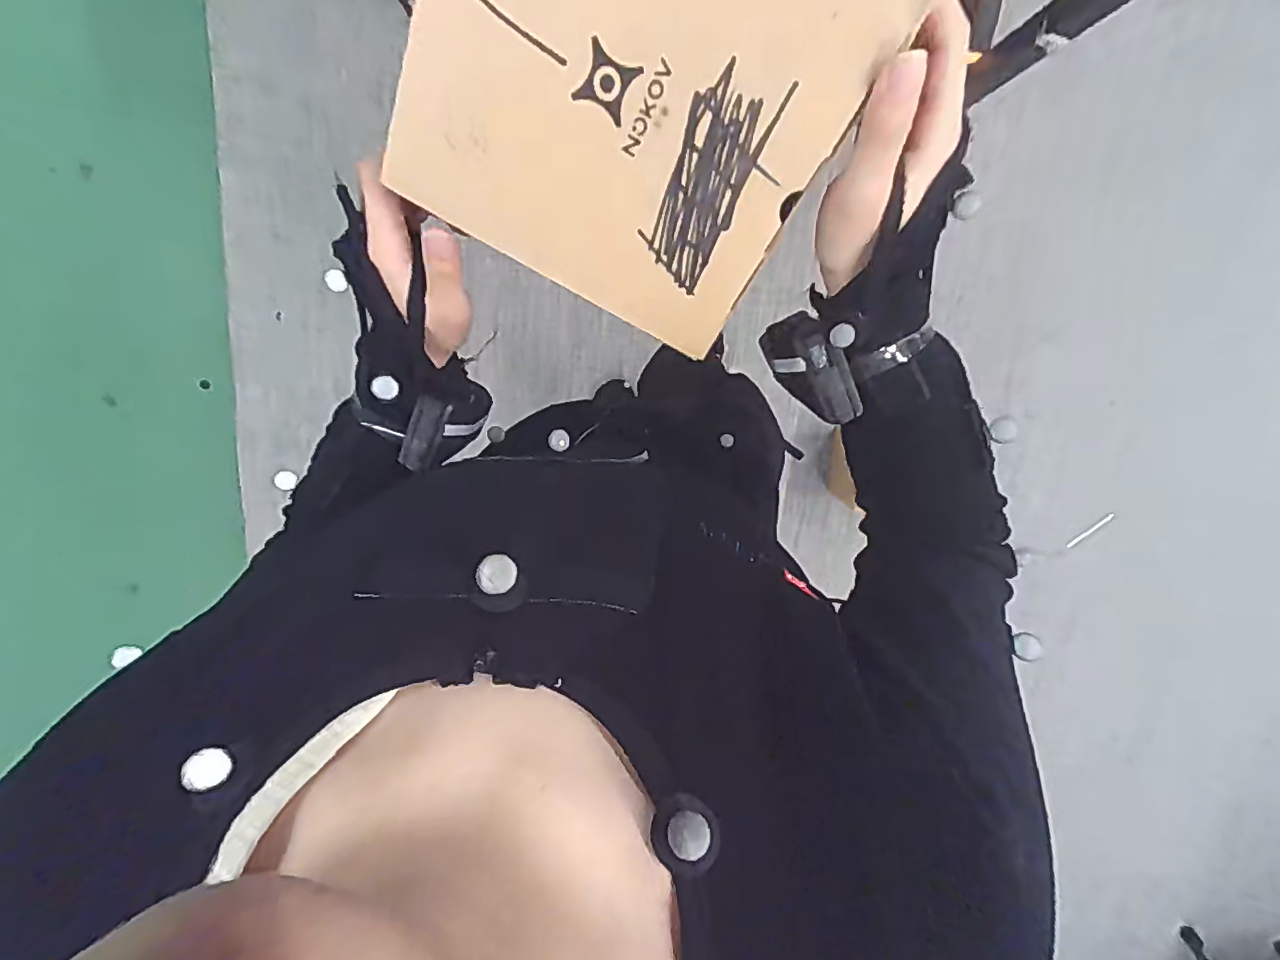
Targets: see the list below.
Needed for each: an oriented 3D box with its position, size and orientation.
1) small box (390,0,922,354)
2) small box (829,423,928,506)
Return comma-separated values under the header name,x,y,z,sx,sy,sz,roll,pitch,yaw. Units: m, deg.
name,x,y,z,sx,sy,sz,roll,pitch,yaw
small box,0.003,-0.206,0.293,0.179,0.176,0.168,27,124,-12
small box,0.572,-0.042,1.307,0.168,0.176,0.179,2,104,-3
